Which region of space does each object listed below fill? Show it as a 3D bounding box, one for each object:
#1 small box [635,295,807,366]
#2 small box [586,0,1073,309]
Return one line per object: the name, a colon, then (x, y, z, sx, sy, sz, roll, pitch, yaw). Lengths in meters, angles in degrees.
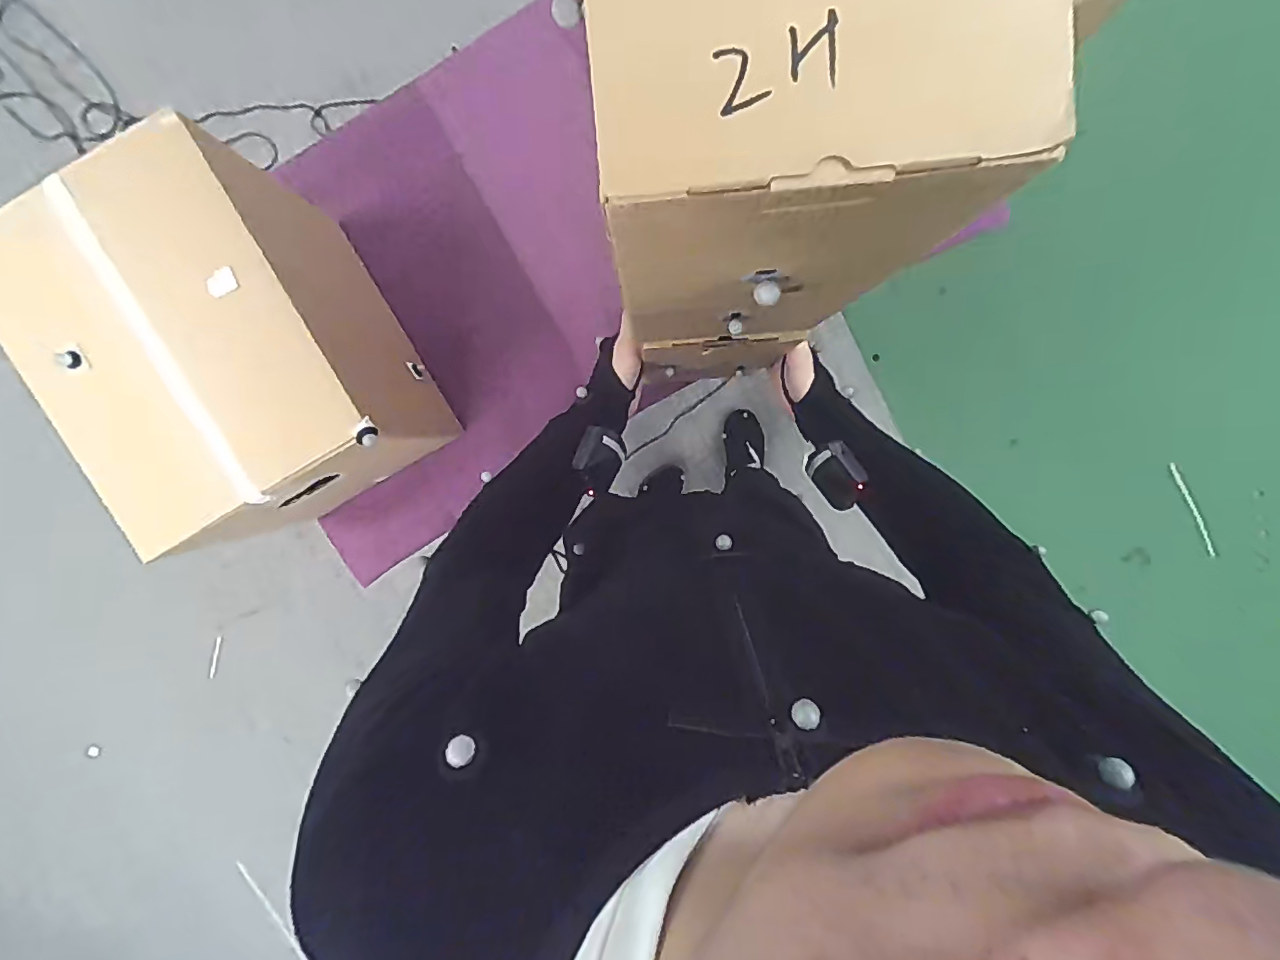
small box: (0.078, -0.221, 0.589, 0.168, 0.176, 0.179, -2, 94, 1)
small box: (0.063, -0.195, 0.262, 0.168, 0.176, 0.179, -4, 95, 2)
